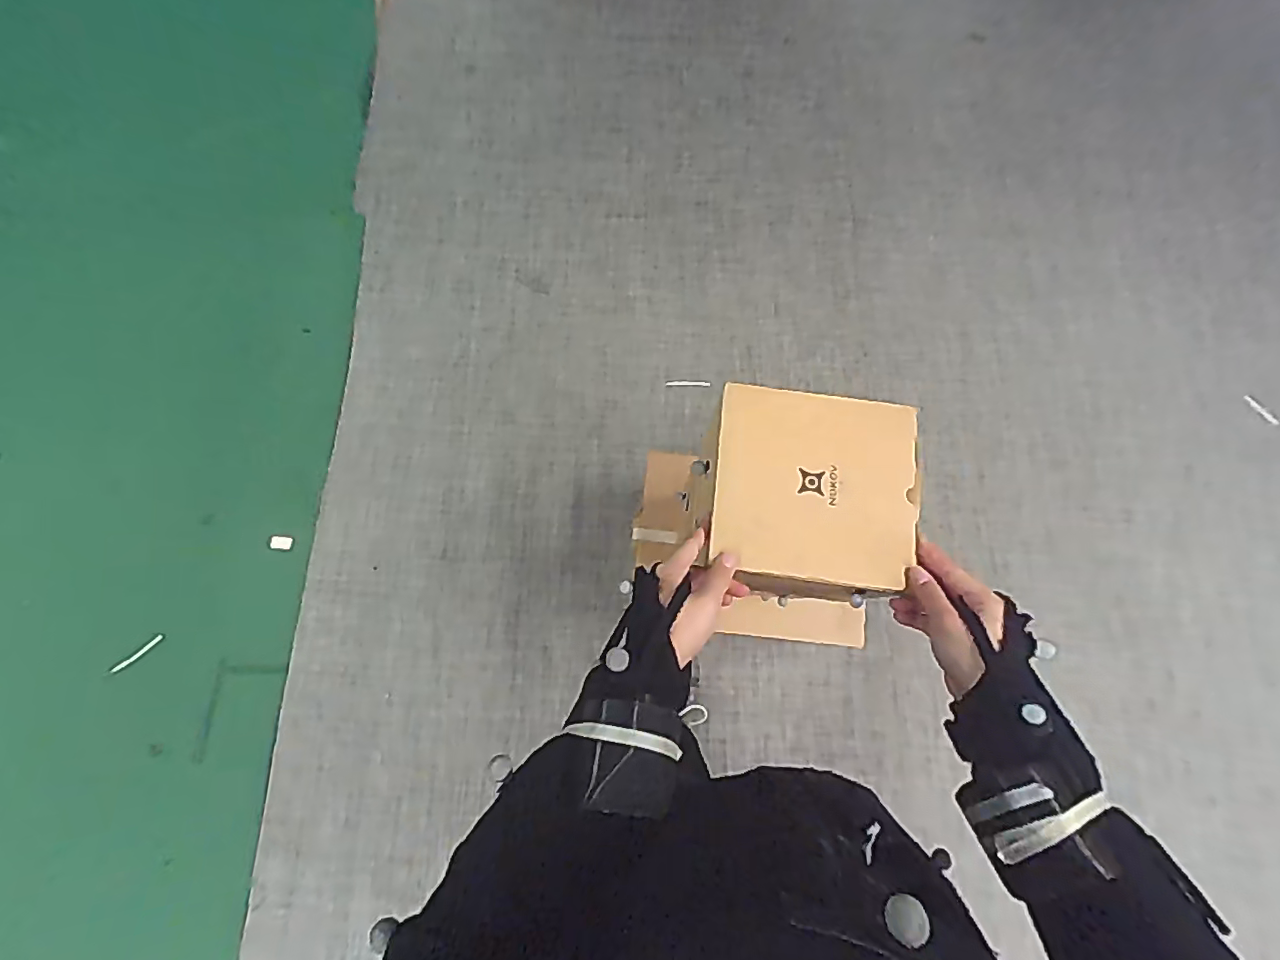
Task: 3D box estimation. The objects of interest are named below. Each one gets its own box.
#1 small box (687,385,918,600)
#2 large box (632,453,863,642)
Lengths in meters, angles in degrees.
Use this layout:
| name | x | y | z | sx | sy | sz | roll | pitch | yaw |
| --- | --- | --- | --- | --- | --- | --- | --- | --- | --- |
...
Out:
| name | x | y | z | sx | sy | sz | roll | pitch | yaw |
| --- | --- | --- | --- | --- | --- | --- | --- | --- | --- |
| small box | 0.145 | 0.024 | 0.535 | 0.179 | 0.176 | 0.168 | 7 | 75 | -1 |
| large box | 0.194 | 0.150 | 1.107 | 0.408 | 0.320 | 0.320 | 6 | 77 | 0 |
